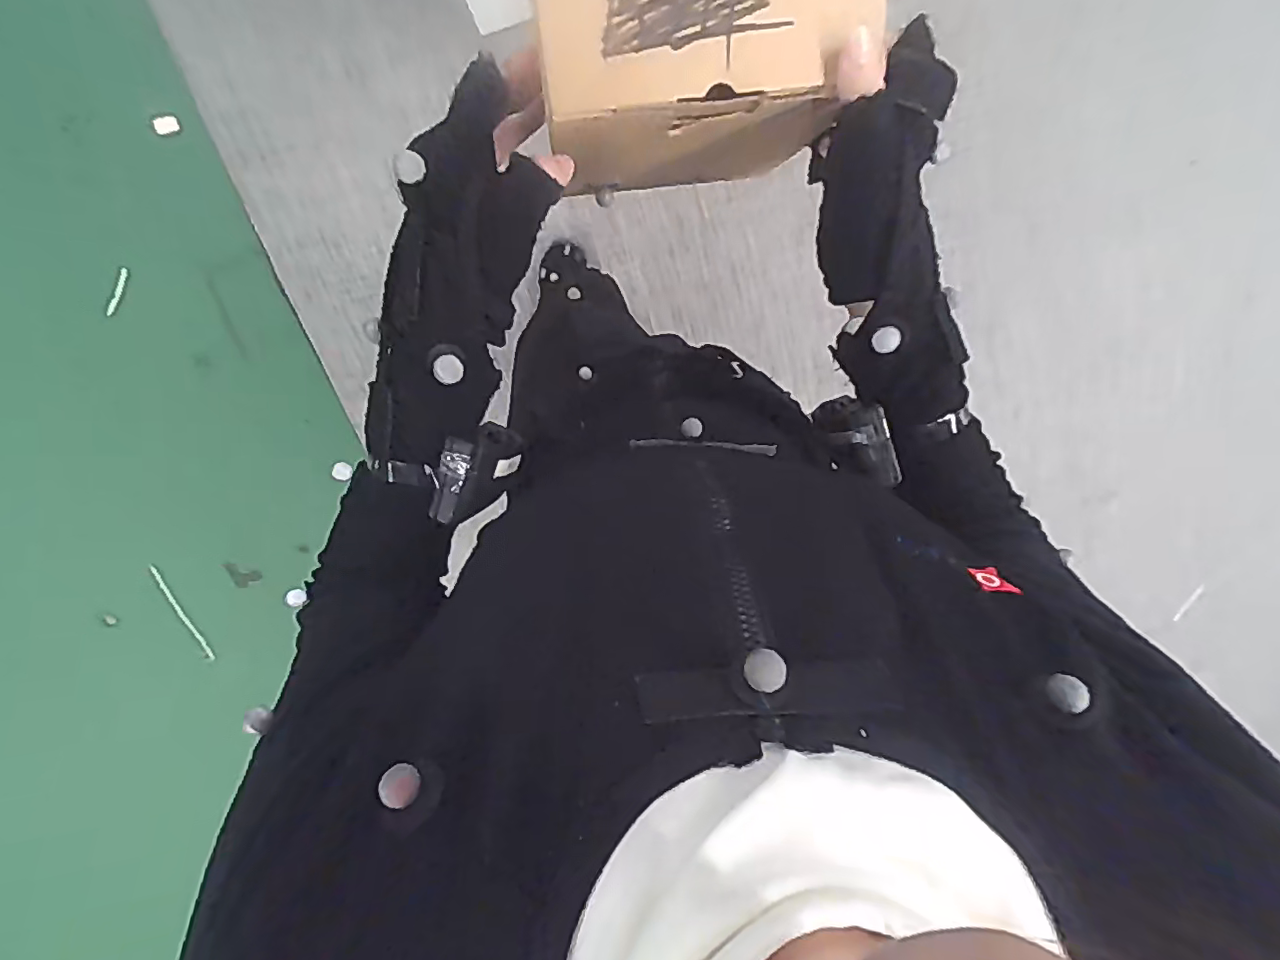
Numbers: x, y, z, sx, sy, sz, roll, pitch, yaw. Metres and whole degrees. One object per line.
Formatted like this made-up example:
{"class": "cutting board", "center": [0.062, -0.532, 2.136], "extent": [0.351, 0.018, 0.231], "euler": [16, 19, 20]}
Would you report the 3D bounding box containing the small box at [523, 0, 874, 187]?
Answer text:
{"class": "small box", "center": [0.017, -0.286, 0.314], "extent": [0.168, 0.176, 0.179], "euler": [-8, 106, -3]}
